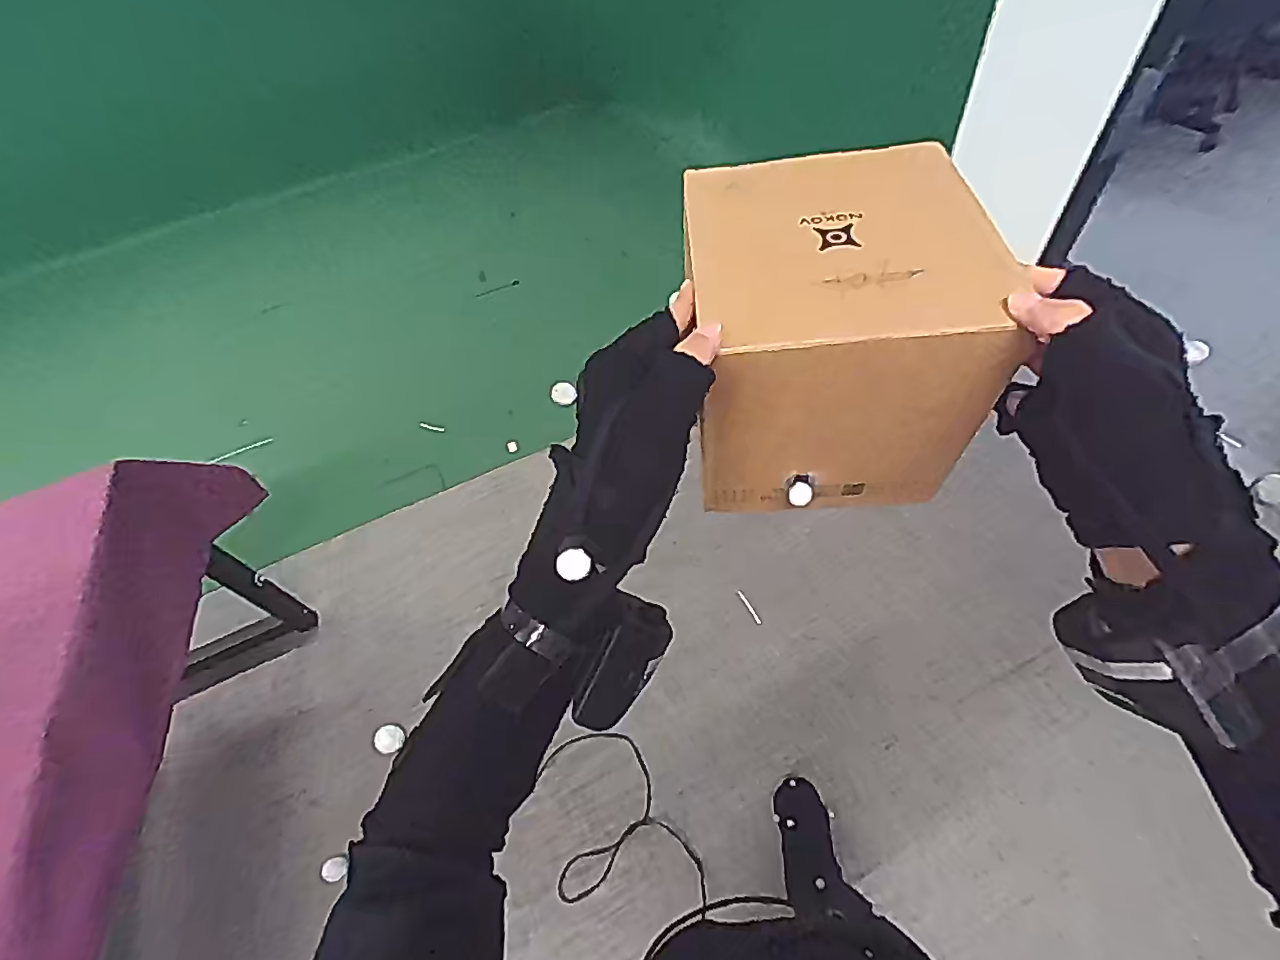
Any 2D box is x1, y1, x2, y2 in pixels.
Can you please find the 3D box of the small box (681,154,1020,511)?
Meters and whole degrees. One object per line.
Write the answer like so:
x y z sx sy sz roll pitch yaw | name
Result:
0.115 -0.096 0.385 0.168 0.176 0.179 -4 56 5 | small box
